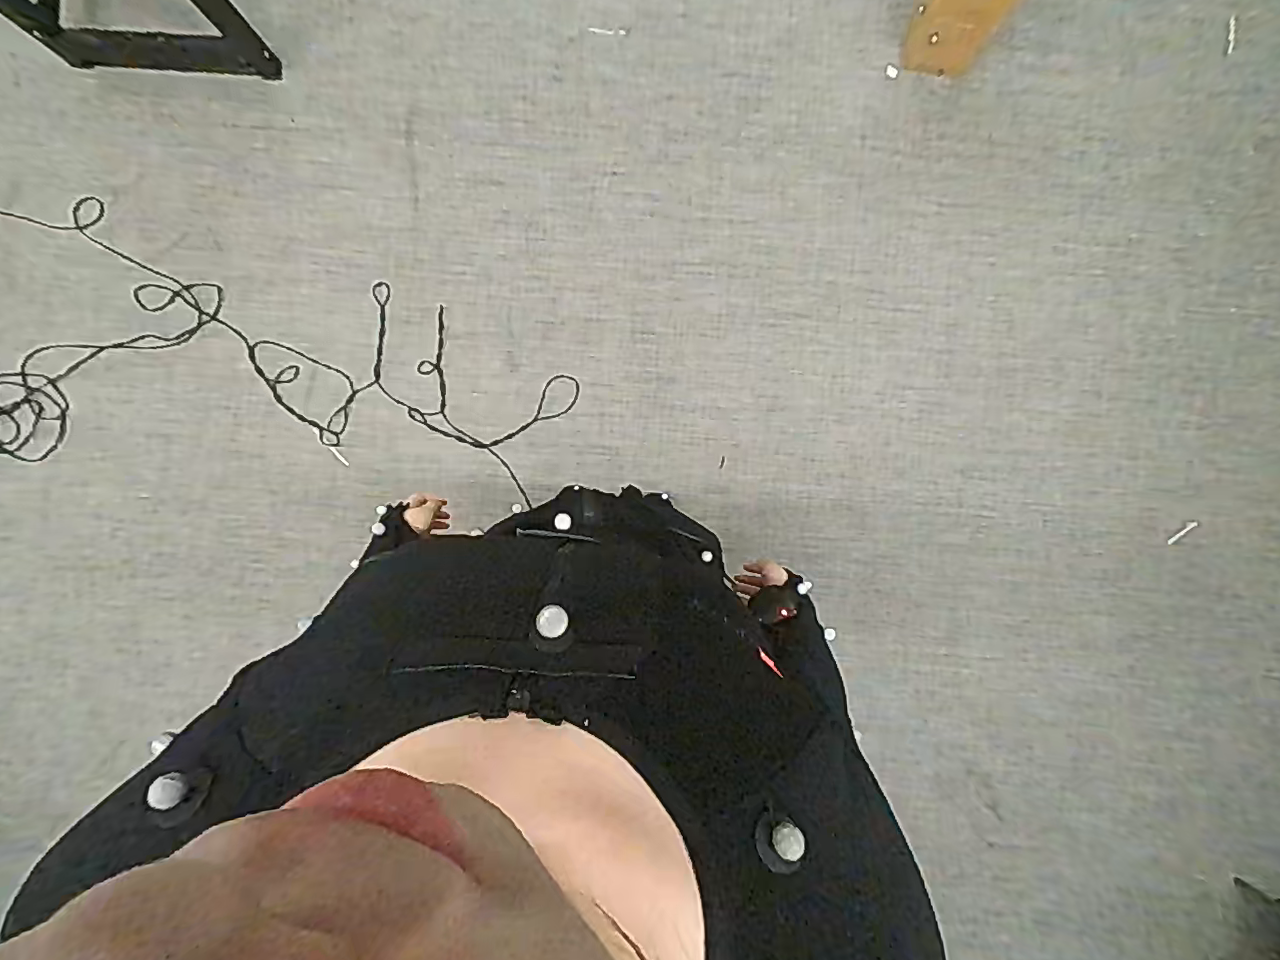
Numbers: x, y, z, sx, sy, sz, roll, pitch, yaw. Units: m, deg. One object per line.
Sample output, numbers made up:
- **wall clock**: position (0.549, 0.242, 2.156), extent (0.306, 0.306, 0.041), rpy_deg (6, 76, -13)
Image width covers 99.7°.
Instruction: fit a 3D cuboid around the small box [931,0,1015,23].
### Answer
- **small box**: position (0.826, -1.230, 1.270), extent (0.179, 0.176, 0.168), rpy_deg (12, 91, 0)
